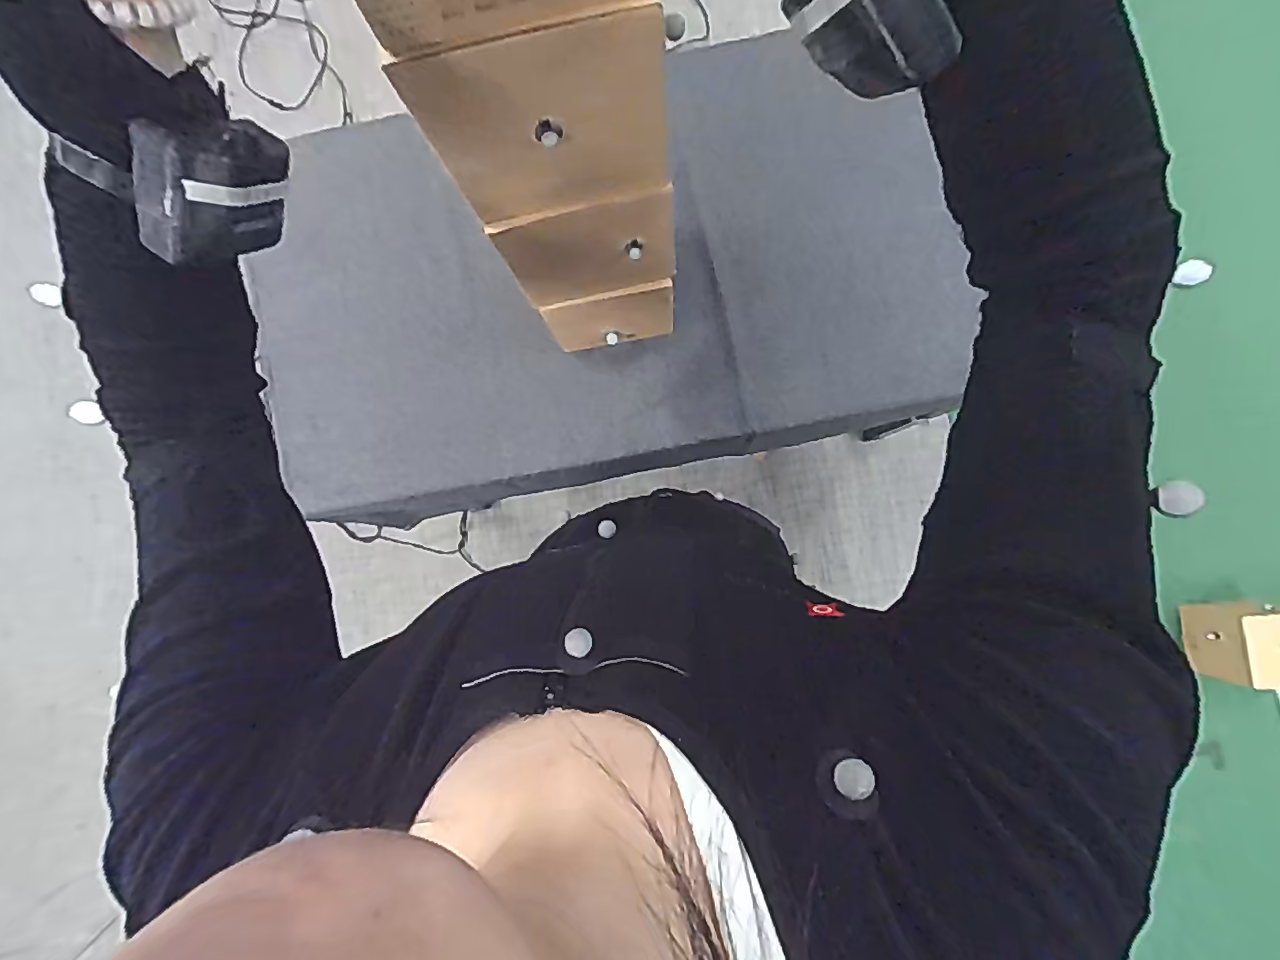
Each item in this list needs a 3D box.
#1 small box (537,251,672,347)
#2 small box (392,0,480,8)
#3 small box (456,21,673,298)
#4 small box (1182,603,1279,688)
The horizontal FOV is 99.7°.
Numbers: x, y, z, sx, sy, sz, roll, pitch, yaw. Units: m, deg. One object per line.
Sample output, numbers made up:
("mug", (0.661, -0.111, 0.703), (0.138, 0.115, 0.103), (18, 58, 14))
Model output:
("small box", (-0.051, -0.299, 0.728), (0.168, 0.176, 0.179), (-9, 85, 3))
("small box", (-0.092, -0.366, 0.244), (0.168, 0.176, 0.179), (-11, 84, 3))
("small box", (-0.066, -0.315, 0.566), (0.179, 0.176, 0.168), (-12, 83, 3))
("small box", (1.476, 0.395, 1.309), (0.179, 0.176, 0.168), (-5, 85, 3))
